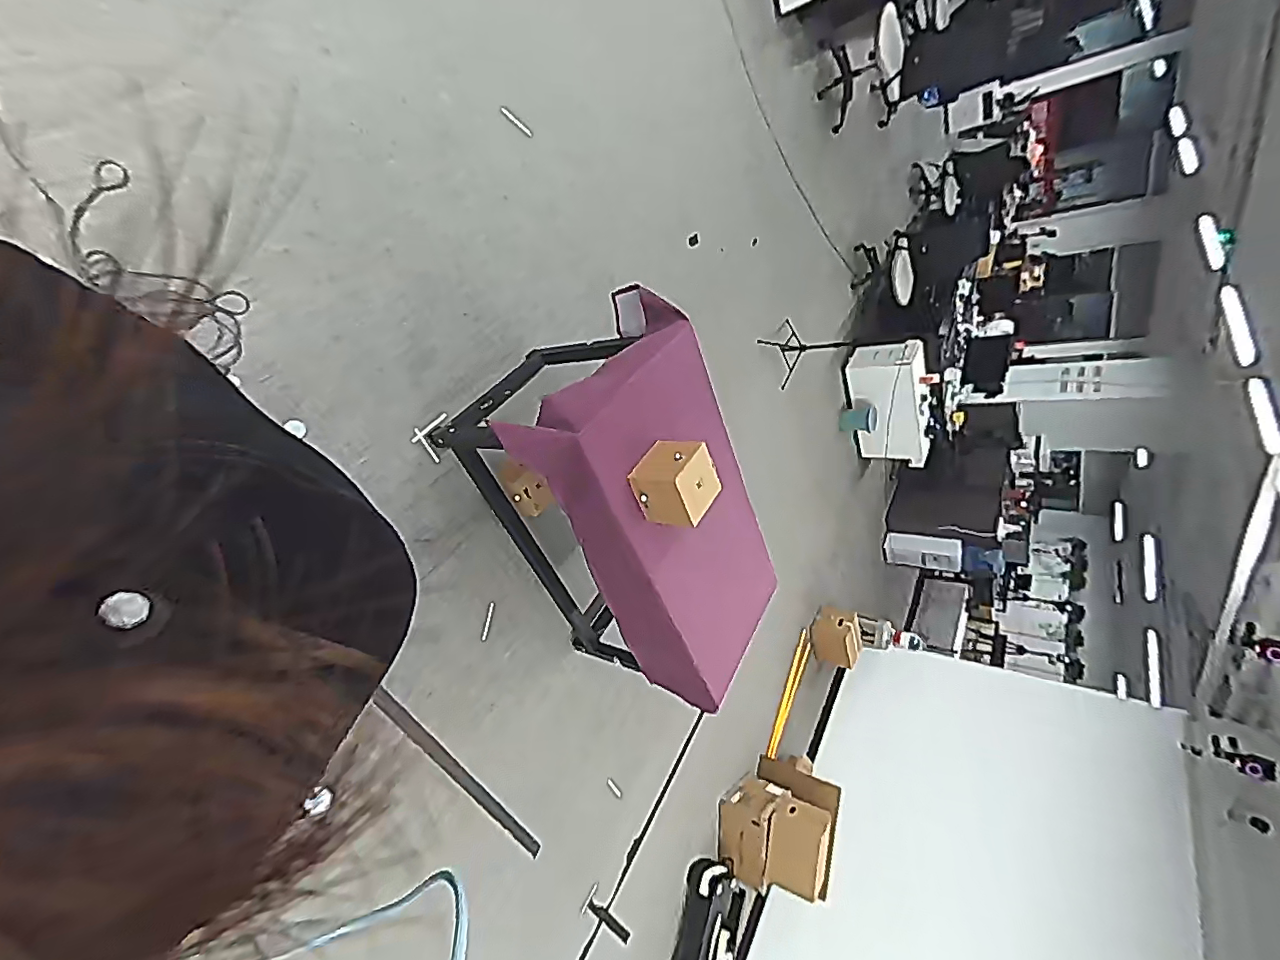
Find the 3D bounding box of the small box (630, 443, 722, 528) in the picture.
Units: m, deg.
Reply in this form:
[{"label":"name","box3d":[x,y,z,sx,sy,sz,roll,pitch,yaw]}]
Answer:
[{"label":"small box","box3d":[0.102,0.008,1.504,0.179,0.176,0.168,-49,129,-36]}]
